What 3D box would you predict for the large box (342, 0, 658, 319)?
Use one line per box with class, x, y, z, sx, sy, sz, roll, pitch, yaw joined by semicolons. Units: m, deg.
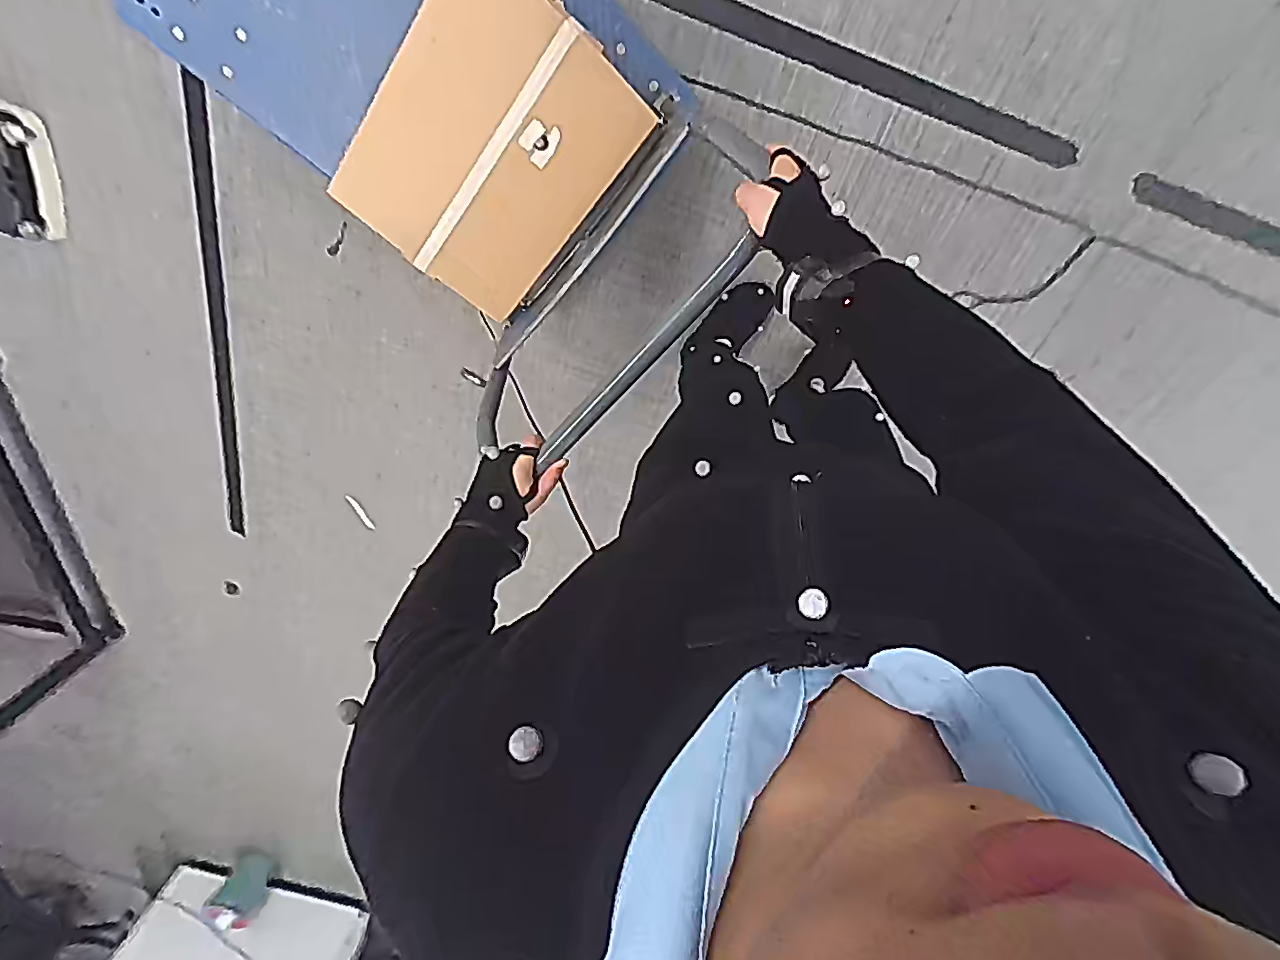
large box;-0.219;-0.563;0.920;0.320;0.320;0.408;35;117;-25
